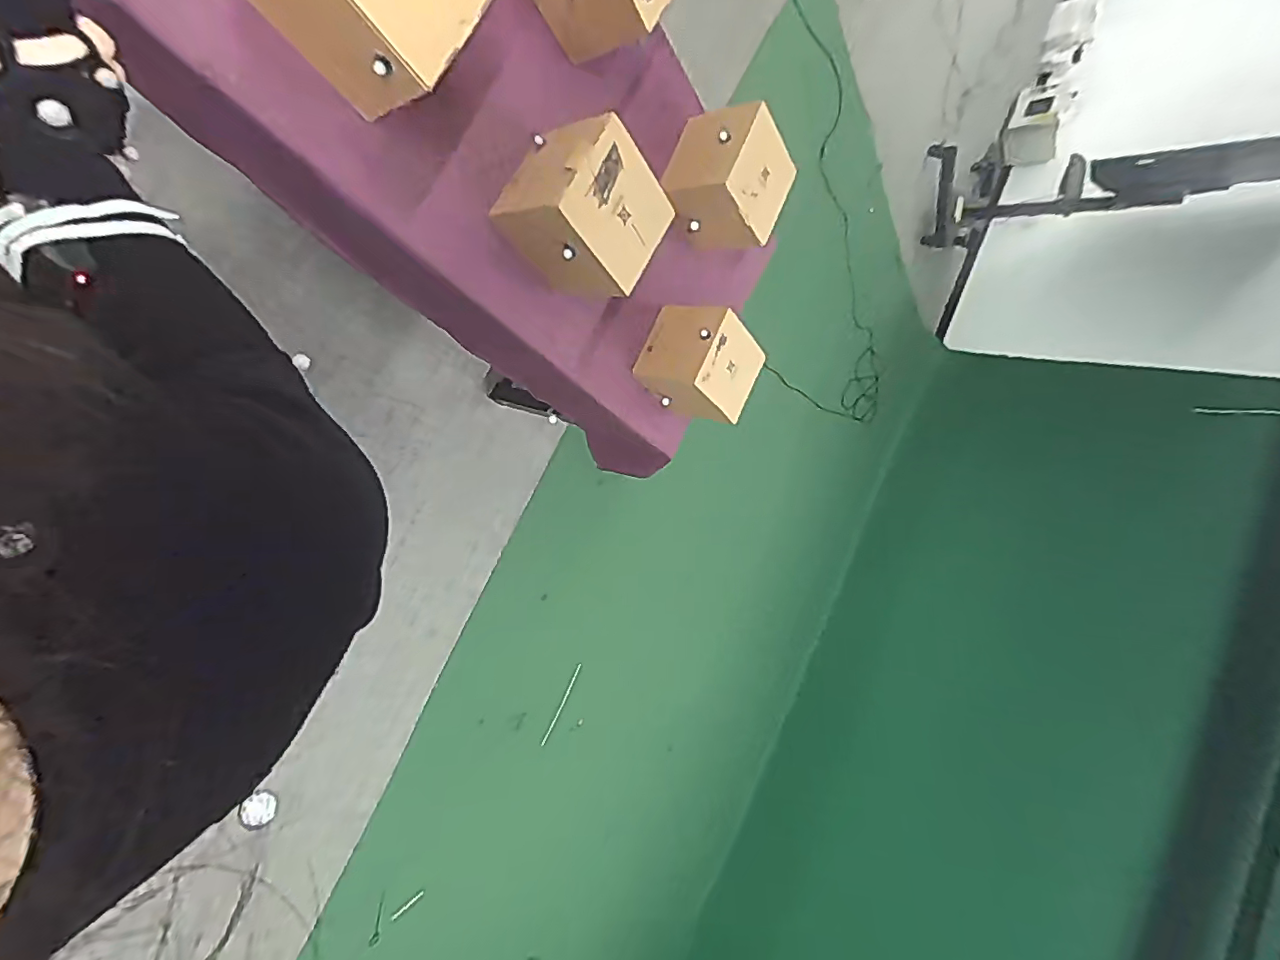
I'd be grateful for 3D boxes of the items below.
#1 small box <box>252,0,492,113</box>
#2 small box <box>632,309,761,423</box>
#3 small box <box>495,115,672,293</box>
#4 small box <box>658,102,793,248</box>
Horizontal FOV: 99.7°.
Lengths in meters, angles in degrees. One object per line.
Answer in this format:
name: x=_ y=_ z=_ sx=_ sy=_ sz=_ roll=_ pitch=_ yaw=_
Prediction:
small box: x=-0.287 y=-0.530 z=0.566 sx=0.179 sy=0.176 sz=0.168 roll=37 pitch=76 yaw=-49
small box: x=0.117 y=-0.240 z=1.116 sx=0.179 sy=0.176 sz=0.168 roll=34 pitch=79 yaw=-48
small box: x=-0.088 y=-0.408 z=0.830 sx=0.179 sy=0.176 sz=0.168 roll=40 pitch=74 yaw=-48
small box: x=0.162 y=-0.574 z=1.039 sx=0.168 sy=0.176 sz=0.179 roll=31 pitch=81 yaw=-48
